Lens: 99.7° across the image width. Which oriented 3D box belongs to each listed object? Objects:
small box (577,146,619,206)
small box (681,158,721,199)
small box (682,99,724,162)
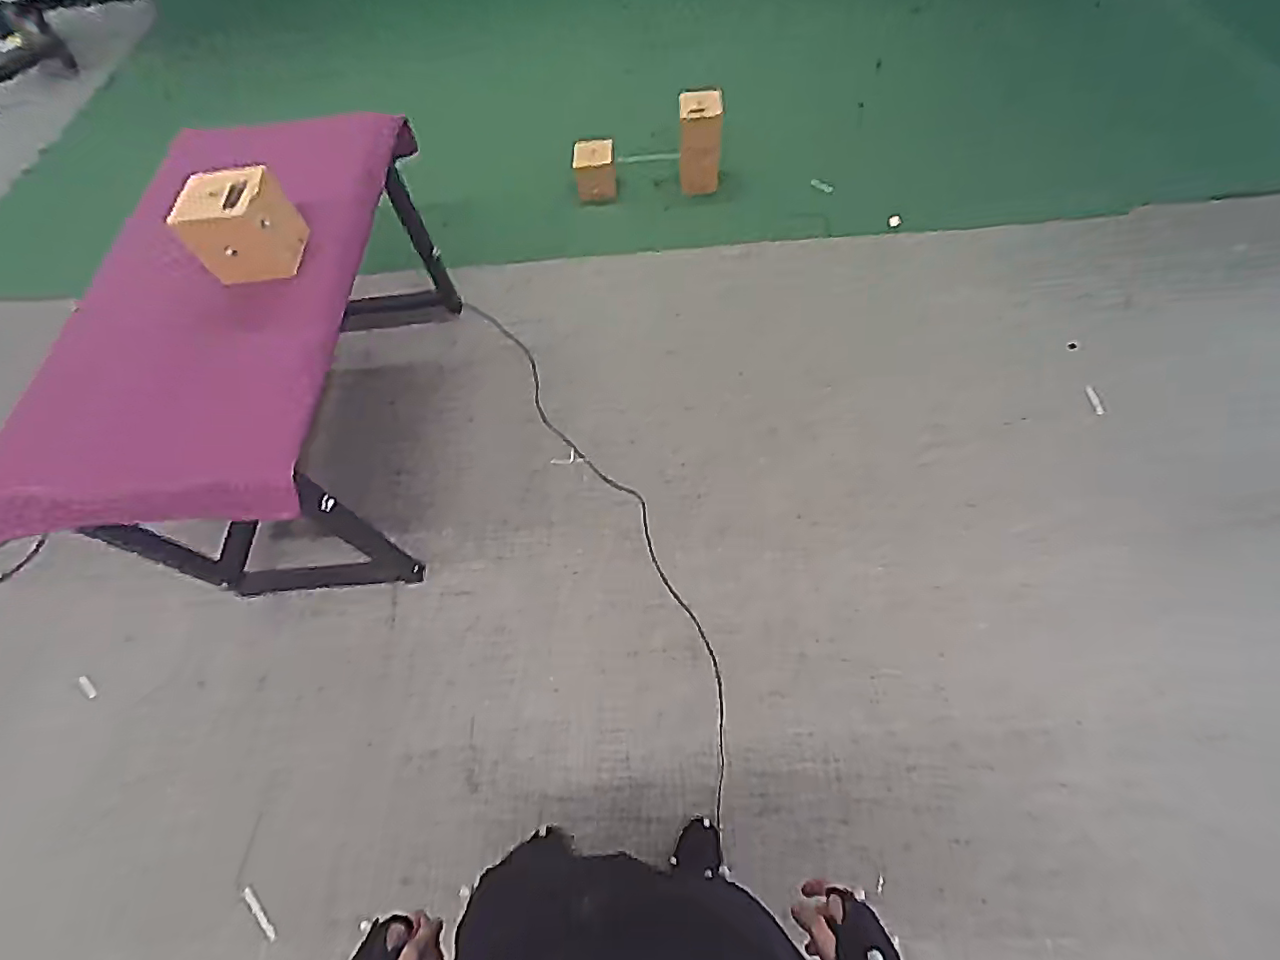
[{"bbox_3d":[-0.187,-1.367,2.433,0.168,0.176,0.179,-2,62,4],"label":"small box"},{"bbox_3d":[0.269,-1.382,2.409,0.168,0.176,0.179,-1,63,3],"label":"small box"},{"bbox_3d":[0.260,-1.458,2.264,0.168,0.176,0.179,0,62,3],"label":"small box"}]
